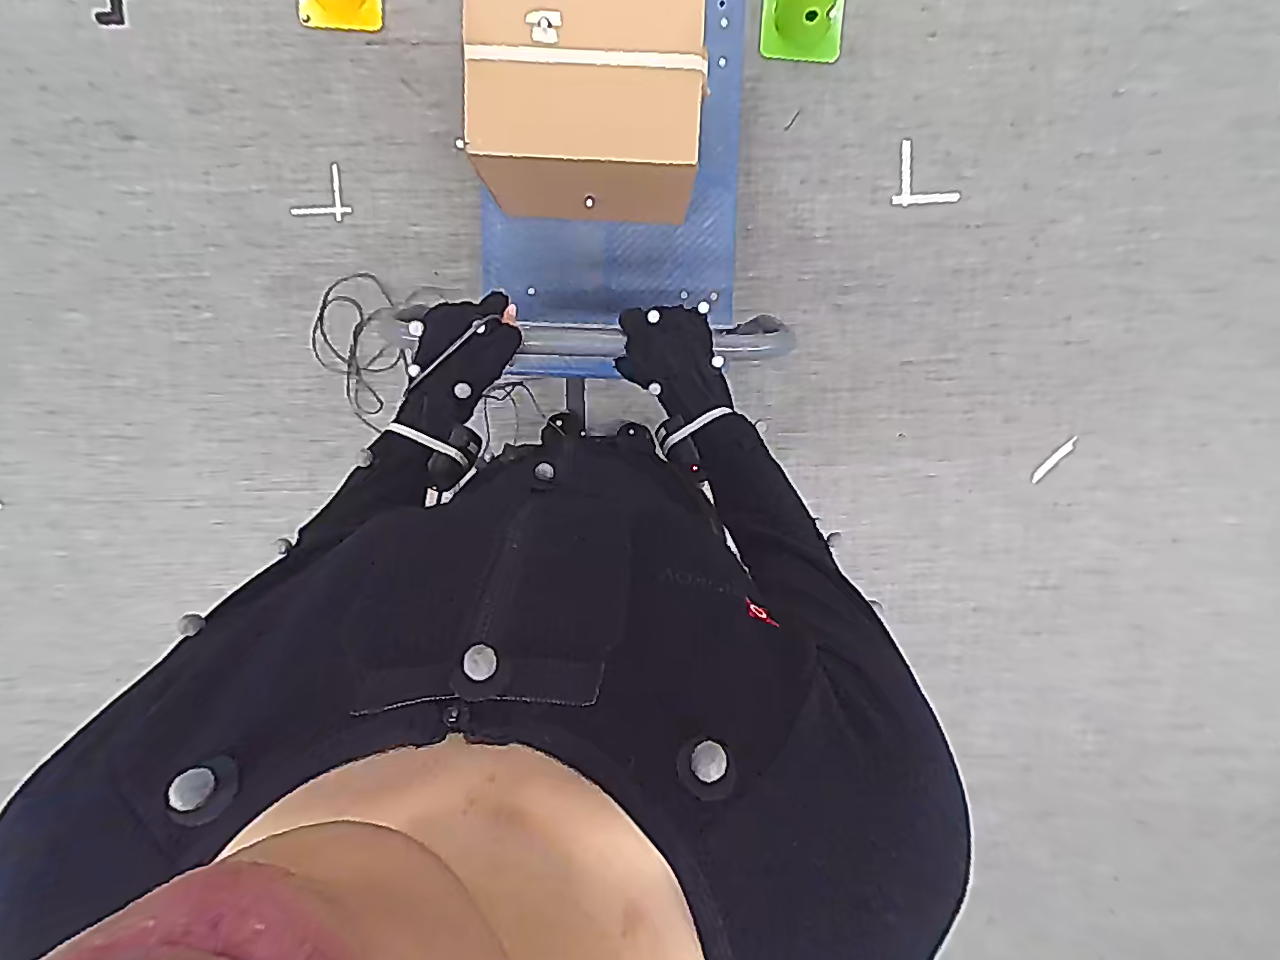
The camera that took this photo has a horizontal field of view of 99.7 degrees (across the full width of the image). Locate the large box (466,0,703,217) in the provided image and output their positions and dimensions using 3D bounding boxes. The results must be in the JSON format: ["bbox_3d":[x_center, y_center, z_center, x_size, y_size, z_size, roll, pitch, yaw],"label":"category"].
[{"bbox_3d":[-0.094,-0.729,1.061,0.408,0.320,0.320,2,97,0],"label":"large box"}]

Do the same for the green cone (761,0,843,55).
[{"bbox_3d":[0.408,-1.143,1.163,0.202,0.368,0.200,3,97,-3],"label":"green cone"}]
